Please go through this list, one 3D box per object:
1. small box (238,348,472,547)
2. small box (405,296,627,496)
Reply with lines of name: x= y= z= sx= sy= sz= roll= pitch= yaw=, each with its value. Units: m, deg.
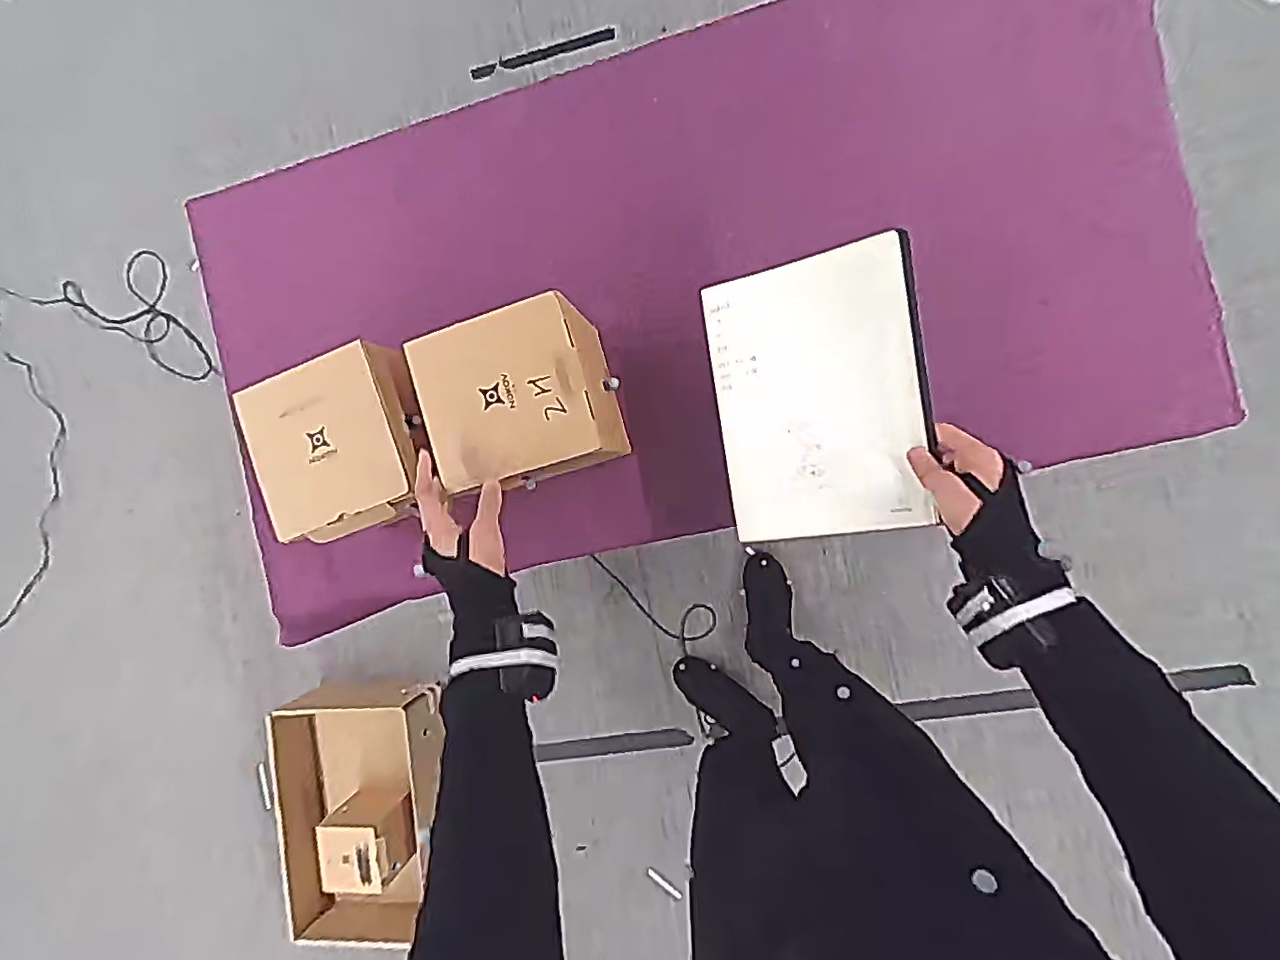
small box: x=-0.326 y=-0.036 z=0.658 sx=0.168 sy=0.176 sz=0.179 roll=-20 pitch=88 yaw=8
small box: x=-0.130 y=-0.082 z=0.623 sx=0.179 sy=0.176 sz=0.168 roll=-16 pitch=89 yaw=8
